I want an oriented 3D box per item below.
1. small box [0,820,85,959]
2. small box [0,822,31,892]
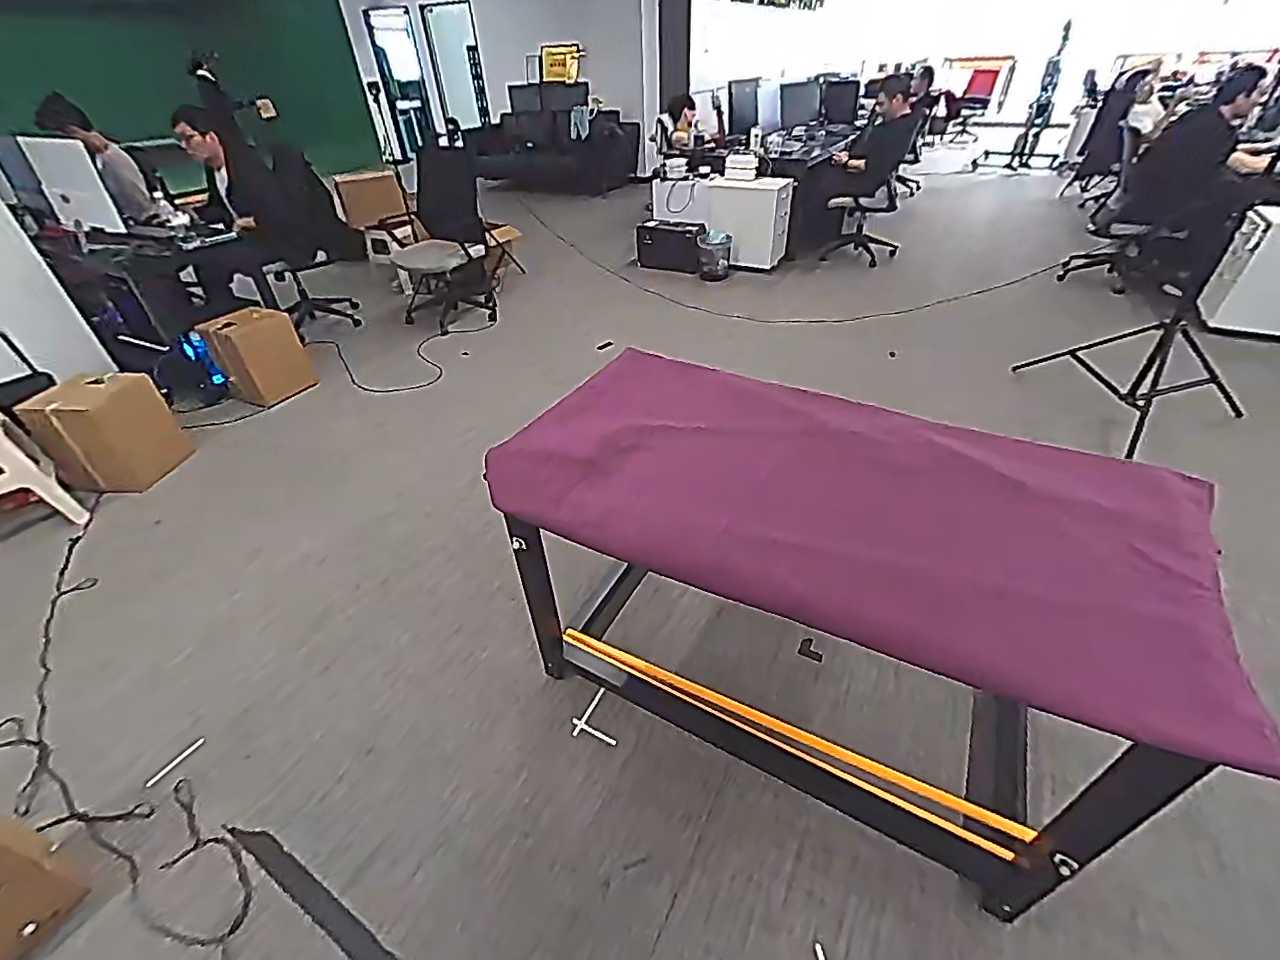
[{"bbox_3d":[-1.328,0.858,1.117,0.179,0.176,0.168,19,43,23],"label":"small box"},{"bbox_3d":[-1.332,0.728,1.015,0.179,0.176,0.168,17,43,22],"label":"small box"}]
